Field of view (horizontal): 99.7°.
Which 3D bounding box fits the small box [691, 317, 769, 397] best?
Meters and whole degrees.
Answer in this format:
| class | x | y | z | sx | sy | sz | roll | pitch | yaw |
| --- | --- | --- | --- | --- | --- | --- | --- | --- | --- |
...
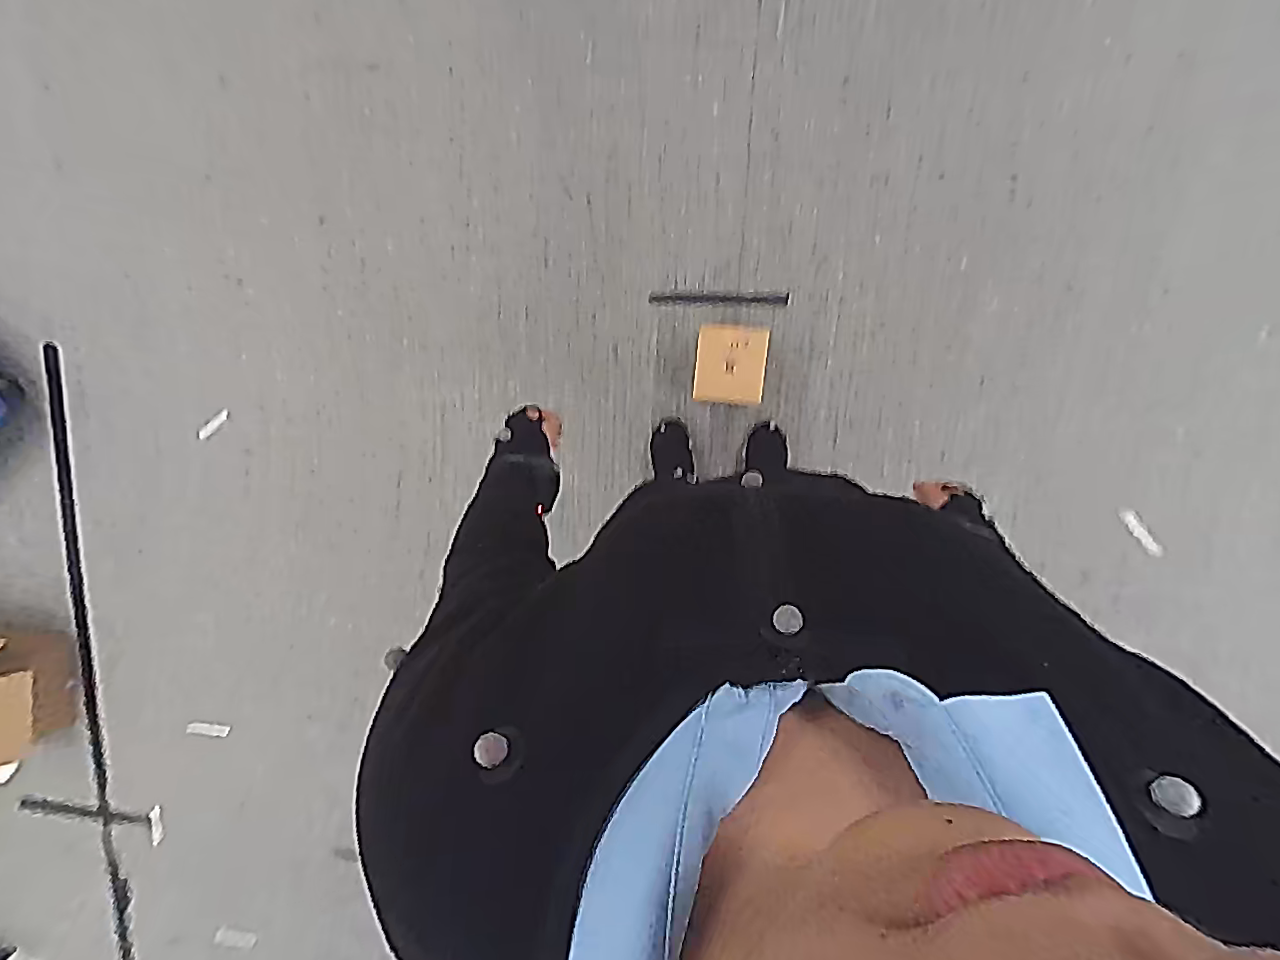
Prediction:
| class | x | y | z | sx | sy | sz | roll | pitch | yaw |
| --- | --- | --- | --- | --- | --- | --- | --- | --- | --- |
| small box | 0.221 | -0.305 | 1.358 | 0.168 | 0.176 | 0.179 | 6 | 100 | 5 |
